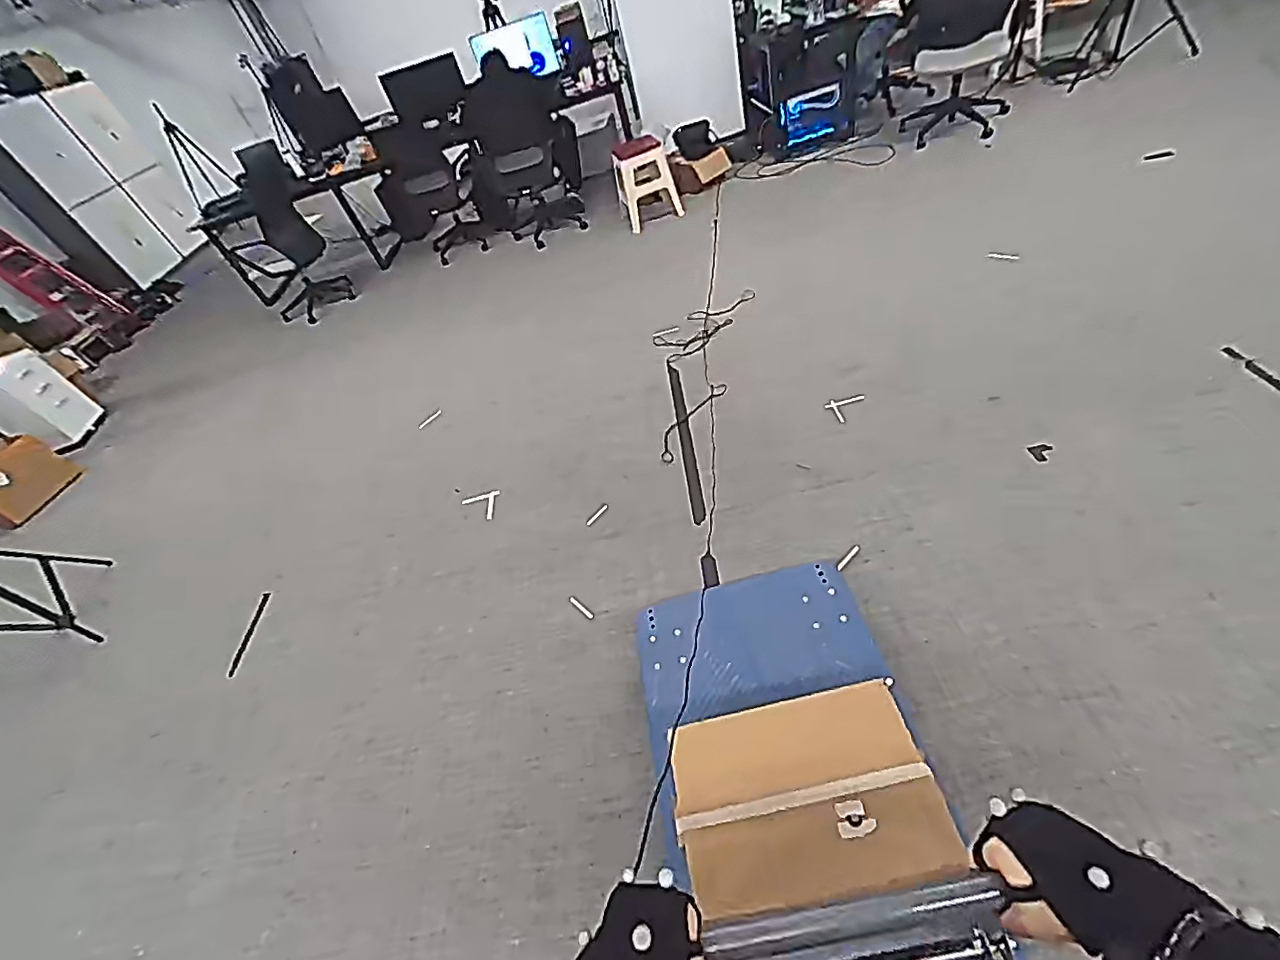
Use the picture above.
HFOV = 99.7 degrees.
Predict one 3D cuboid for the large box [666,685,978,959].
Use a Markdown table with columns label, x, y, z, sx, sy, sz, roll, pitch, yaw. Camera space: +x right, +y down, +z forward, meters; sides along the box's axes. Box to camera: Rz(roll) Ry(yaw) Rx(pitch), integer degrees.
| label | x | y | z | sx | sy | sz | roll | pitch | yaw |
| --- | --- | --- | --- | --- | --- | --- | --- | --- | --- |
| large box | 0.292 | 0.623 | 0.960 | 0.408 | 0.320 | 0.320 | -16 | 43 | 5 |
